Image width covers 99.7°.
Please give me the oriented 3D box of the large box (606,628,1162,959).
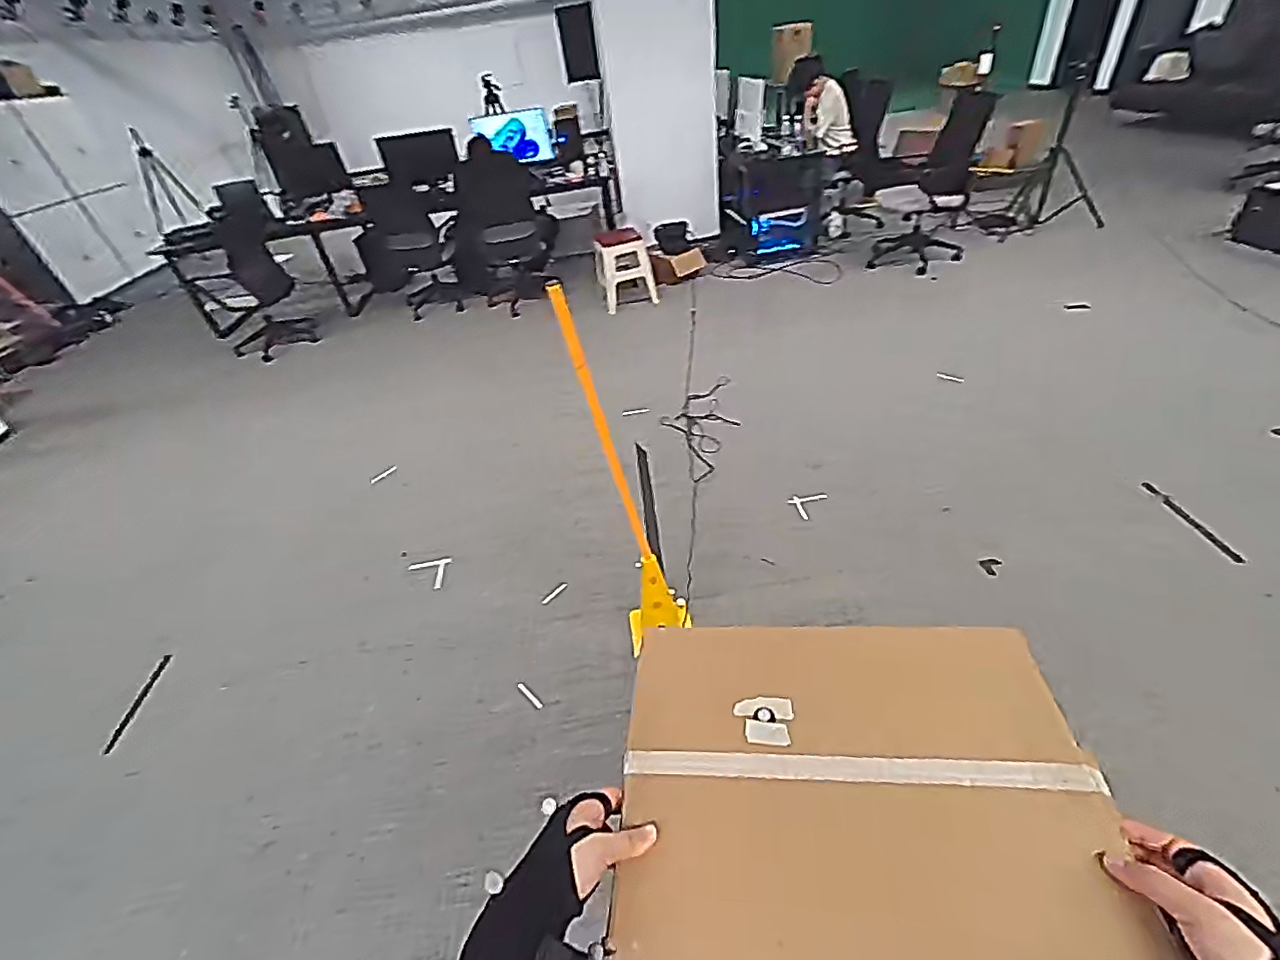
[{"bbox_3d":[0.208,0.388,0.593,0.408,0.320,0.320,-5,38,11],"label":"large box"}]
